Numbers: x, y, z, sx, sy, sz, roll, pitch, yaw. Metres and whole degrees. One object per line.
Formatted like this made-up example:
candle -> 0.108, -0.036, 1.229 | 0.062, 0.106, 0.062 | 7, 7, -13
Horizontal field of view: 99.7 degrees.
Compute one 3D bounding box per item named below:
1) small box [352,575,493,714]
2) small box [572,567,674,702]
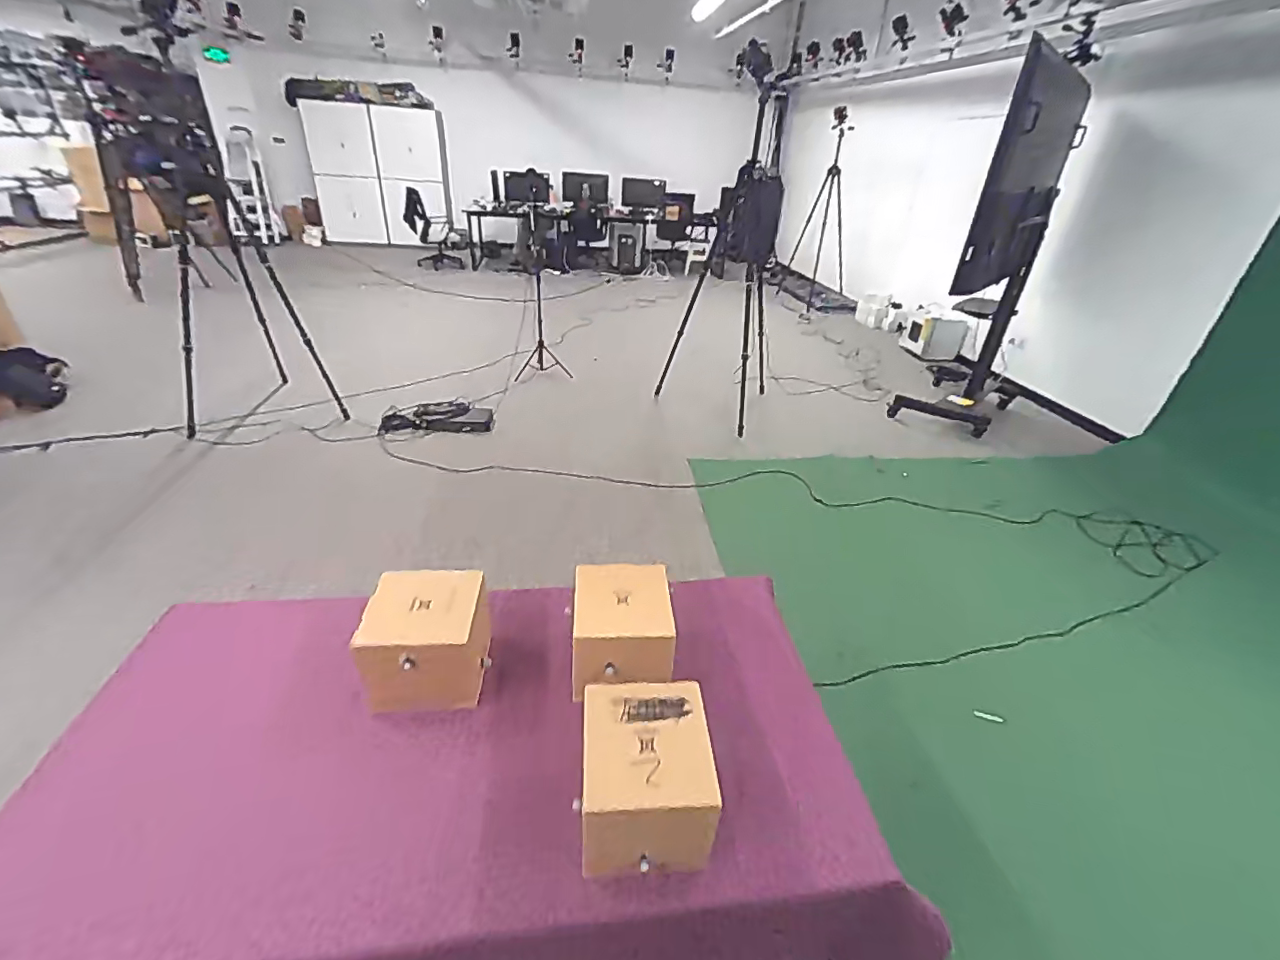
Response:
small box -> -0.358, 0.281, 0.927 | 0.179, 0.176, 0.168 | 1, 32, -5
small box -> -0.032, 0.276, 0.964 | 0.168, 0.176, 0.179 | 0, 30, -5
